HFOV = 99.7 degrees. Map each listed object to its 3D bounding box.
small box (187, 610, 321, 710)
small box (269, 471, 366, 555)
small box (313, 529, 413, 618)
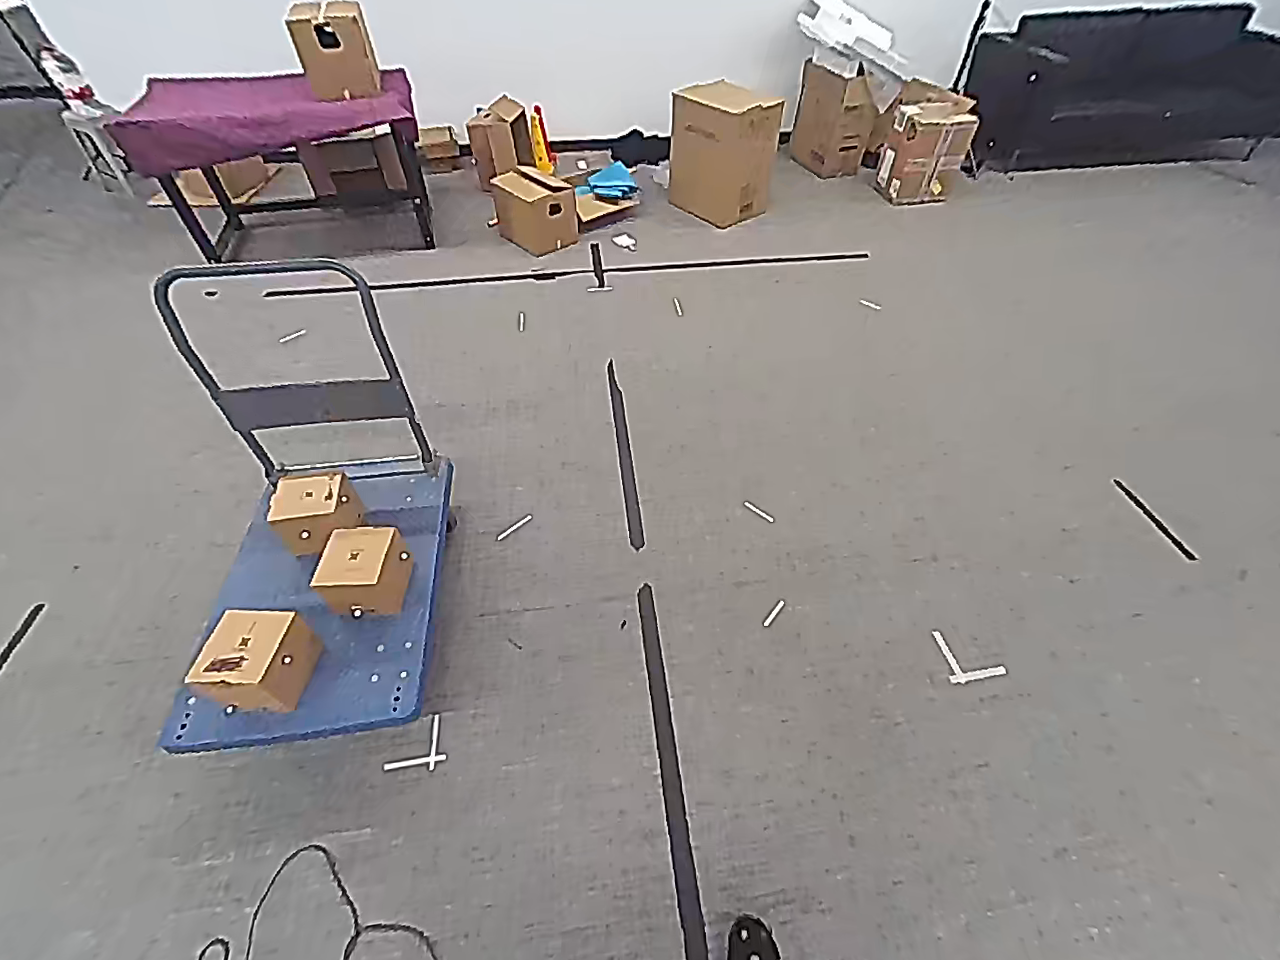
[{"bbox_3d":[-0.896,0.429,1.280,0.168,0.176,0.179,2,47,1],"label":"small box"},{"bbox_3d":[-0.931,0.100,1.577,0.179,0.176,0.168,-9,49,-7],"label":"small box"},{"bbox_3d":[-0.727,0.250,1.447,0.168,0.176,0.179,-2,49,0],"label":"small box"}]
